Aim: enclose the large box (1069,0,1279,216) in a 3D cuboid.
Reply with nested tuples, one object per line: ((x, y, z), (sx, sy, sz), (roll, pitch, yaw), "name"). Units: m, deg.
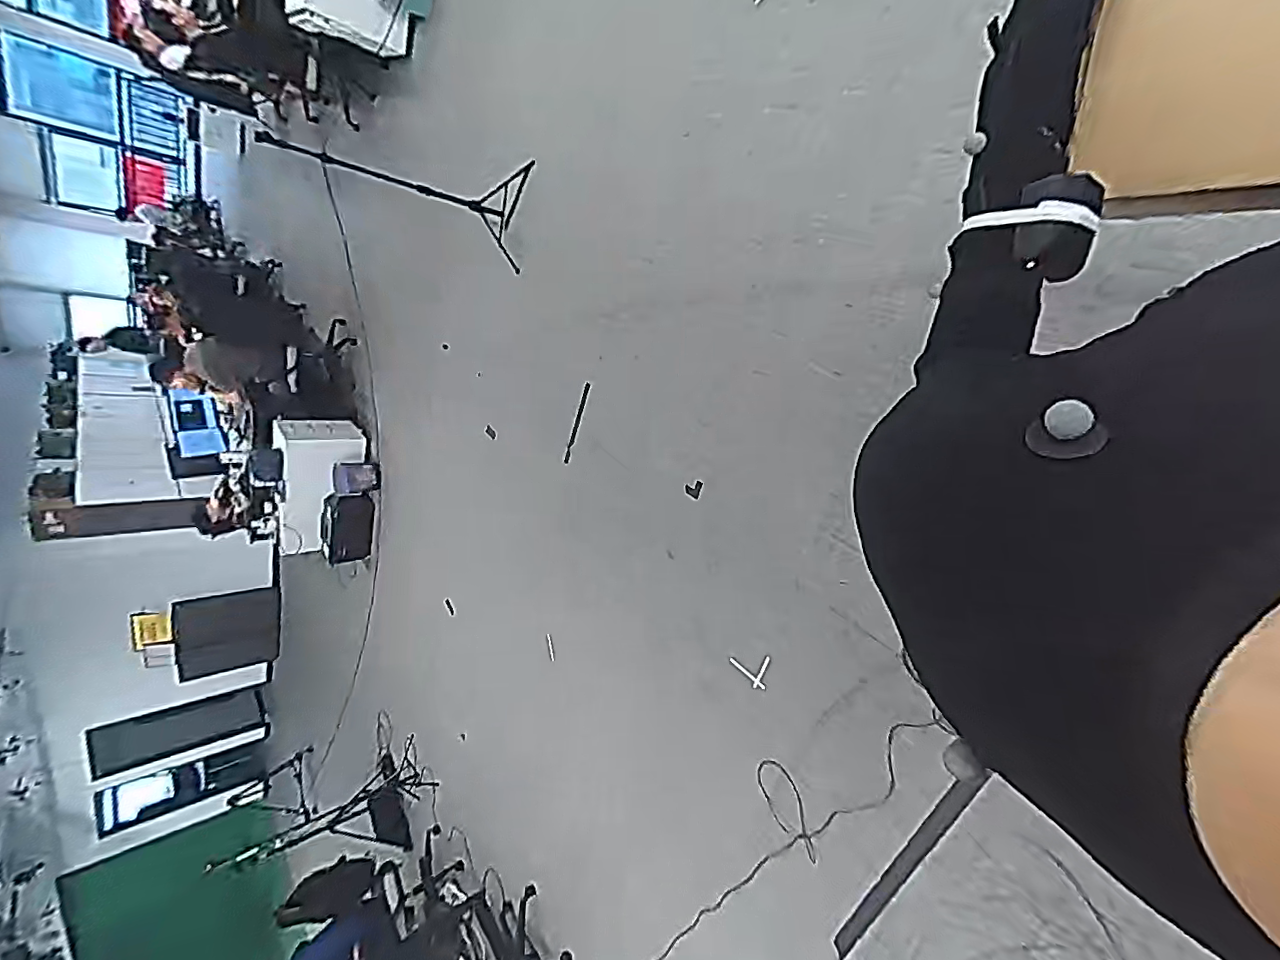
((0.588, -0.375, 0.365), (0.408, 0.320, 0.320), (17, 119, 40), "large box")
